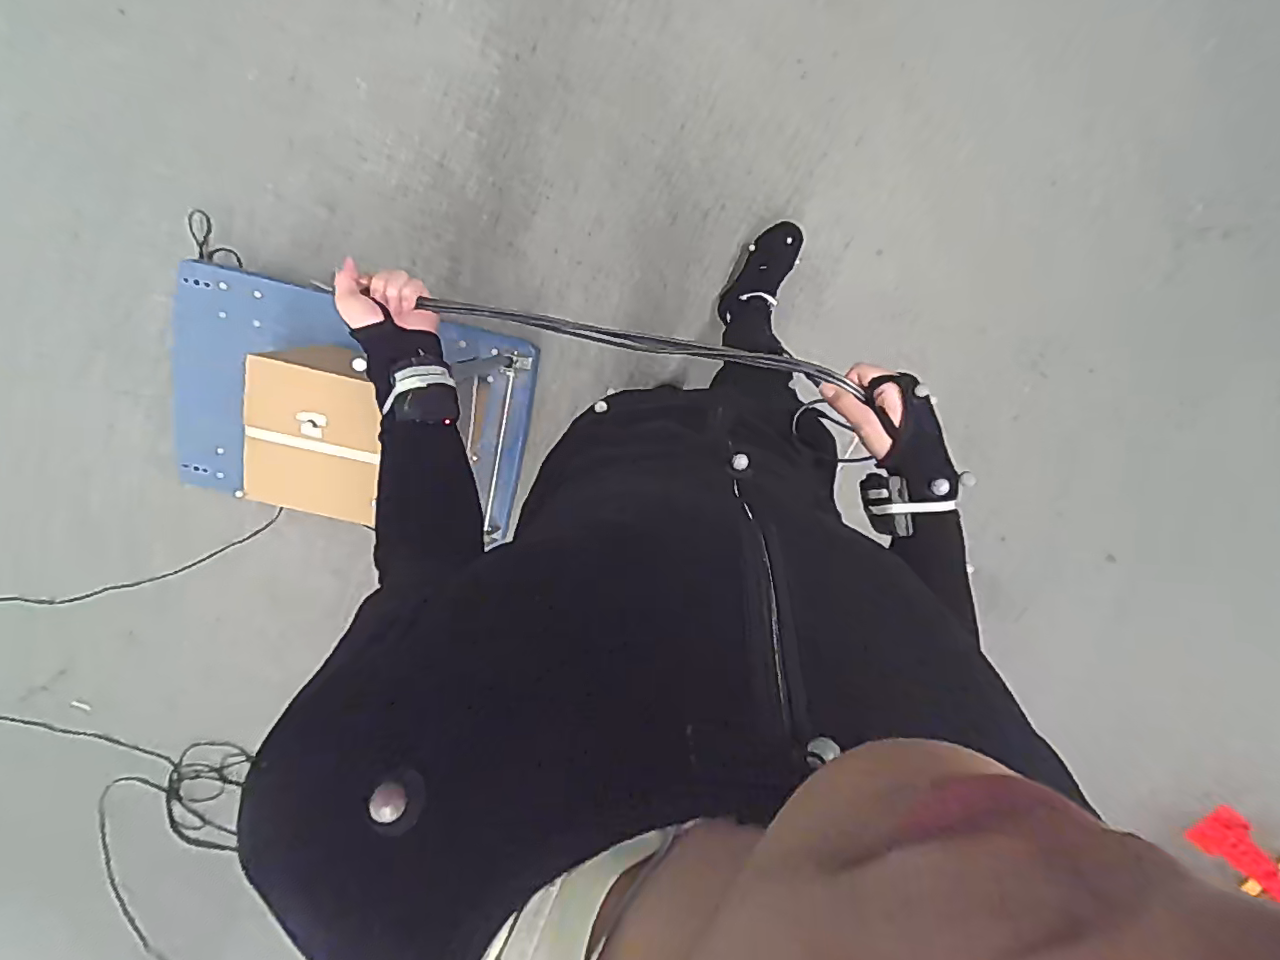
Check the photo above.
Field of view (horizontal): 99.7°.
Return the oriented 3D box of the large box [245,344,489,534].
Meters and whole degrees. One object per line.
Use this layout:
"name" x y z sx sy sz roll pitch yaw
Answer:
"large box" -0.600 -0.110 1.249 0.408 0.320 0.320 13 106 -3
